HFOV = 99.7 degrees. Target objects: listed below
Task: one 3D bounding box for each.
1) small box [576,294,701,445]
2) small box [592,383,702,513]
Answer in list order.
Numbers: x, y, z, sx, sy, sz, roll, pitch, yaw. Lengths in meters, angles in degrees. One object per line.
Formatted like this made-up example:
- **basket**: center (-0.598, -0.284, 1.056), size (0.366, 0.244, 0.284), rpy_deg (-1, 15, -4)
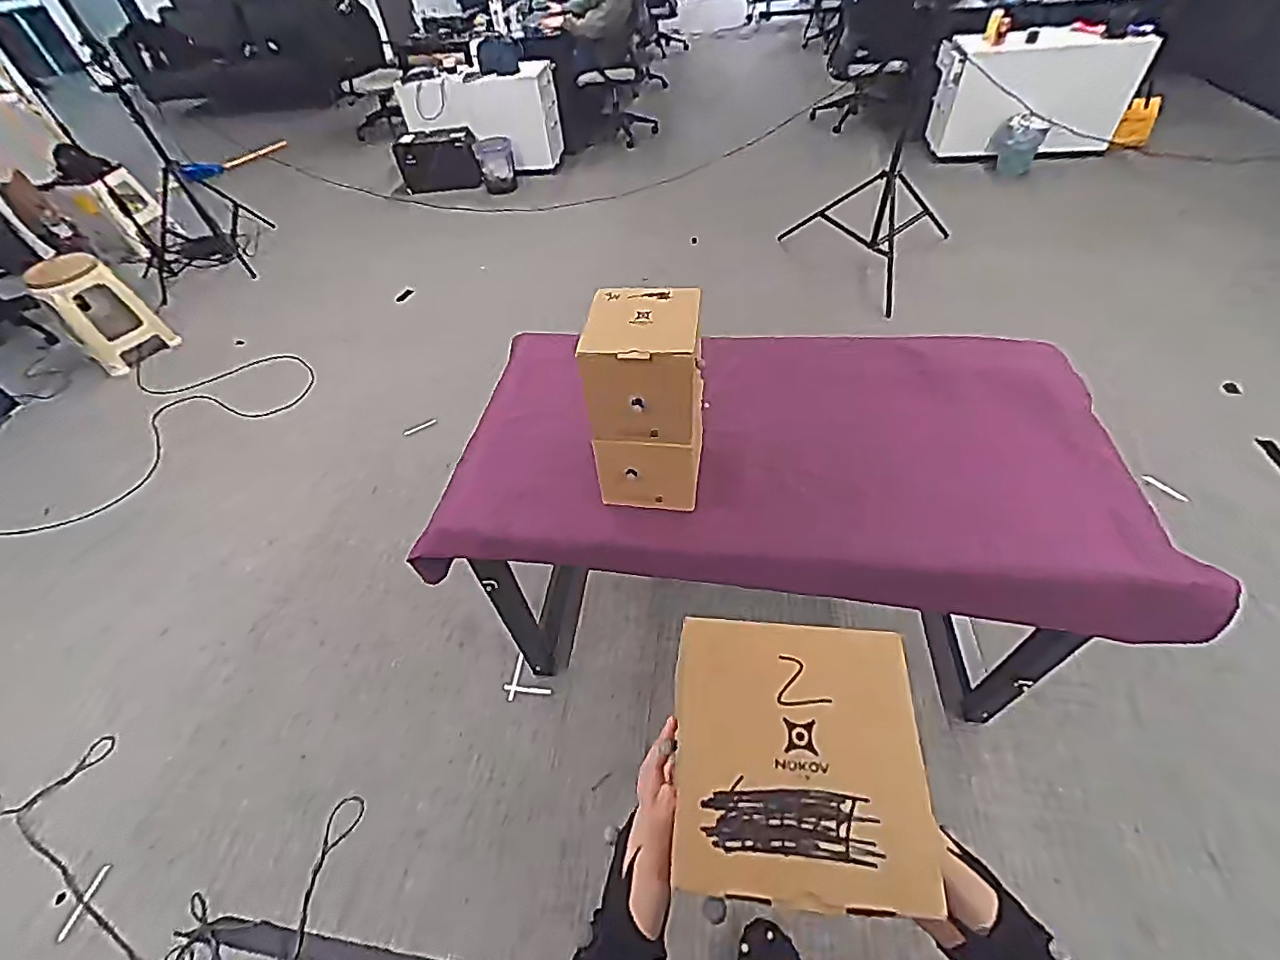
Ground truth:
- **small box**: center (0.008, -0.171, 0.850), size (0.168, 0.176, 0.179), rpy_deg (3, 49, 8)
- **small box**: center (0.022, -0.059, 0.969), size (0.168, 0.176, 0.179), rpy_deg (4, 49, 9)
